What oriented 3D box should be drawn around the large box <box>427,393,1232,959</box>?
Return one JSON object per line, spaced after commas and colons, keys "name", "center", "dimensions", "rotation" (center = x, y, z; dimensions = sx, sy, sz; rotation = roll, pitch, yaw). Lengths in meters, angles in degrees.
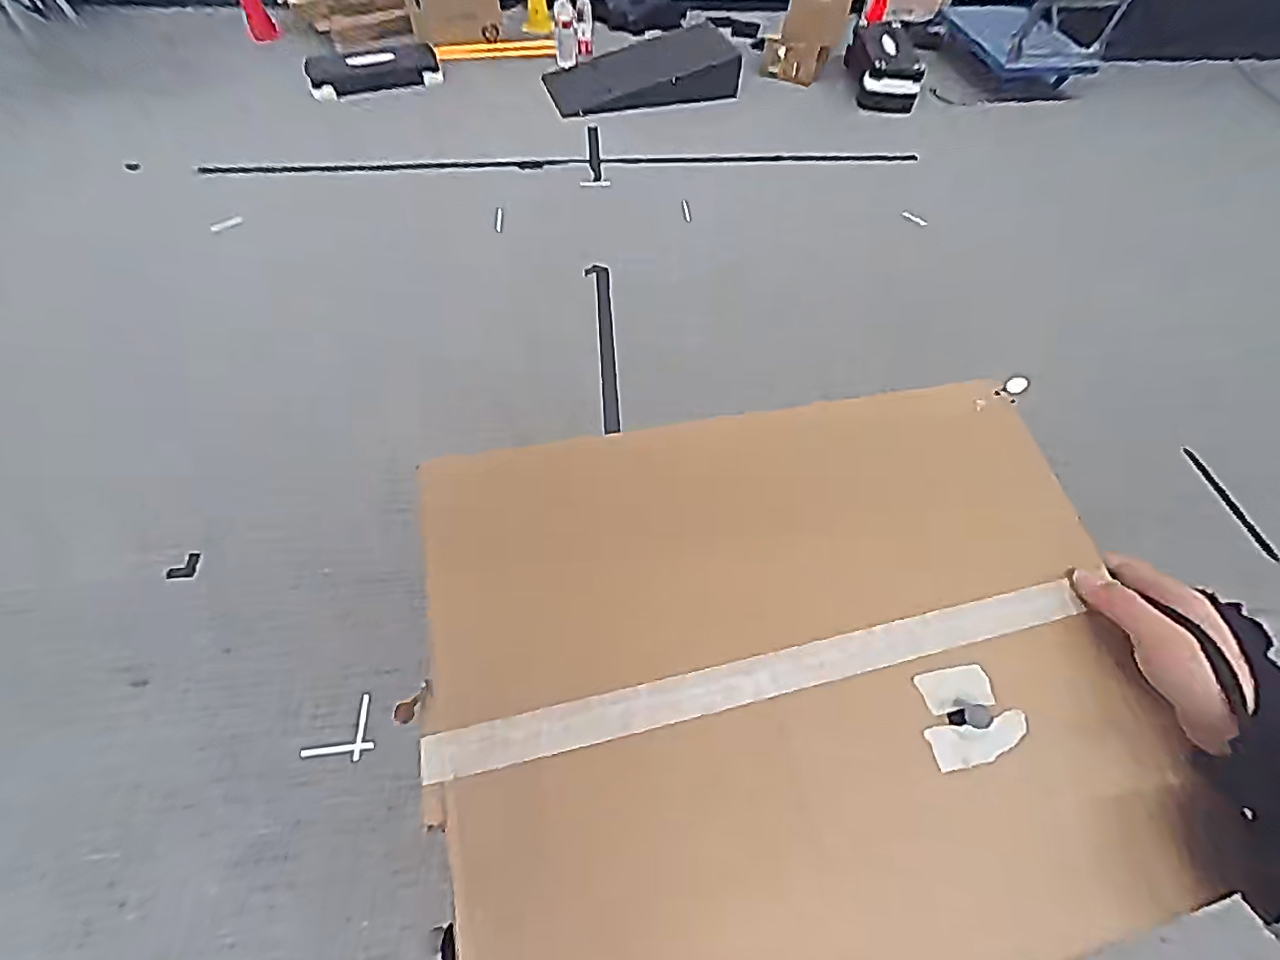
{"name": "large box", "center": [0.079, 0.166, 0.441], "dimensions": [0.408, 0.320, 0.320], "rotation": [-10, 69, -12]}
